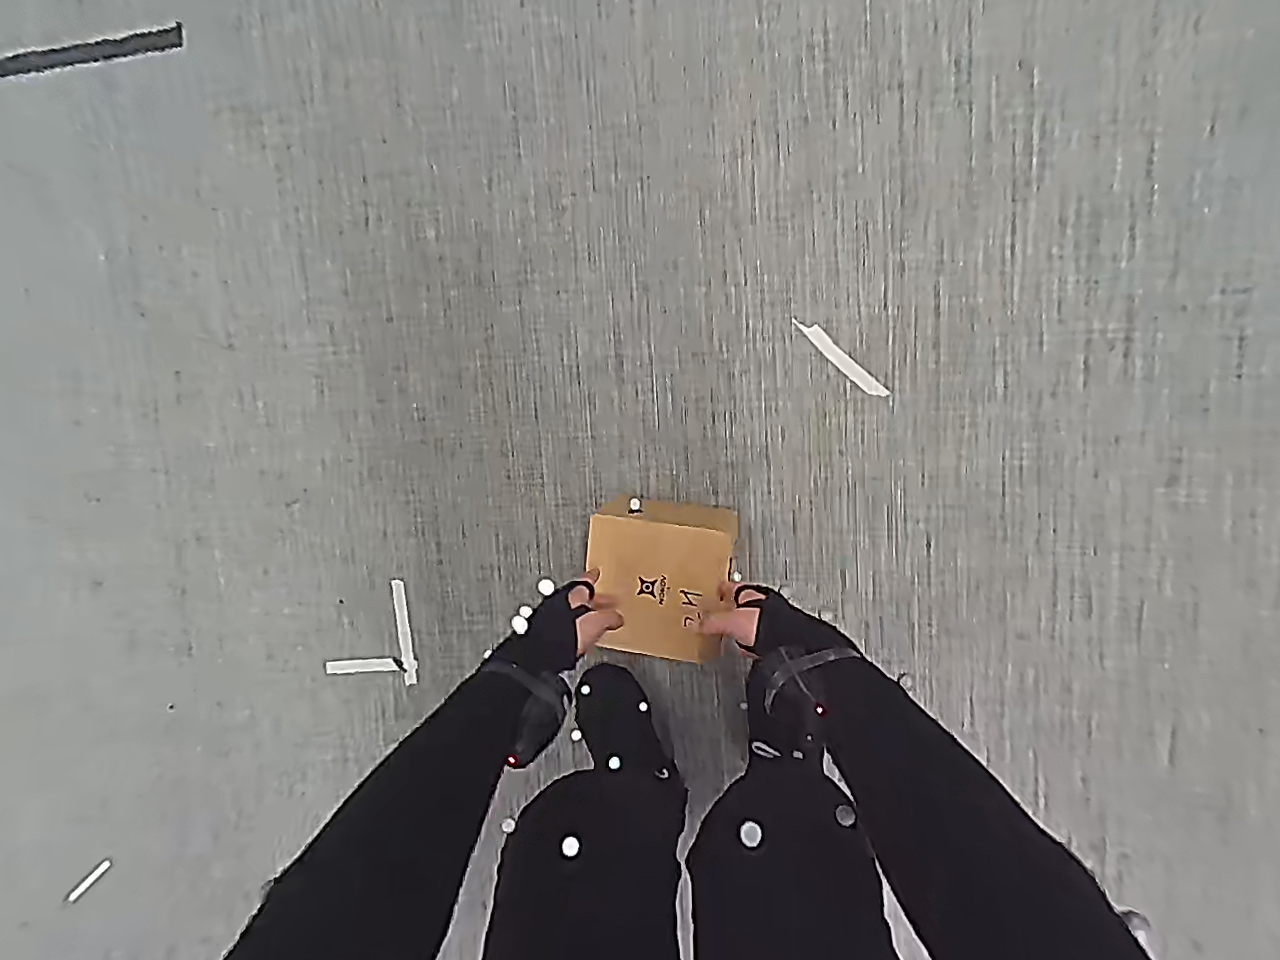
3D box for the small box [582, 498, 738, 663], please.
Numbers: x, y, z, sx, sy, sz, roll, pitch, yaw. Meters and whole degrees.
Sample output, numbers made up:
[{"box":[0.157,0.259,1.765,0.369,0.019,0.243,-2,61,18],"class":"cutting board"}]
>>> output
[{"box":[0.034,0.121,0.727,0.179,0.176,0.168,7,97,9],"class":"small box"}]
